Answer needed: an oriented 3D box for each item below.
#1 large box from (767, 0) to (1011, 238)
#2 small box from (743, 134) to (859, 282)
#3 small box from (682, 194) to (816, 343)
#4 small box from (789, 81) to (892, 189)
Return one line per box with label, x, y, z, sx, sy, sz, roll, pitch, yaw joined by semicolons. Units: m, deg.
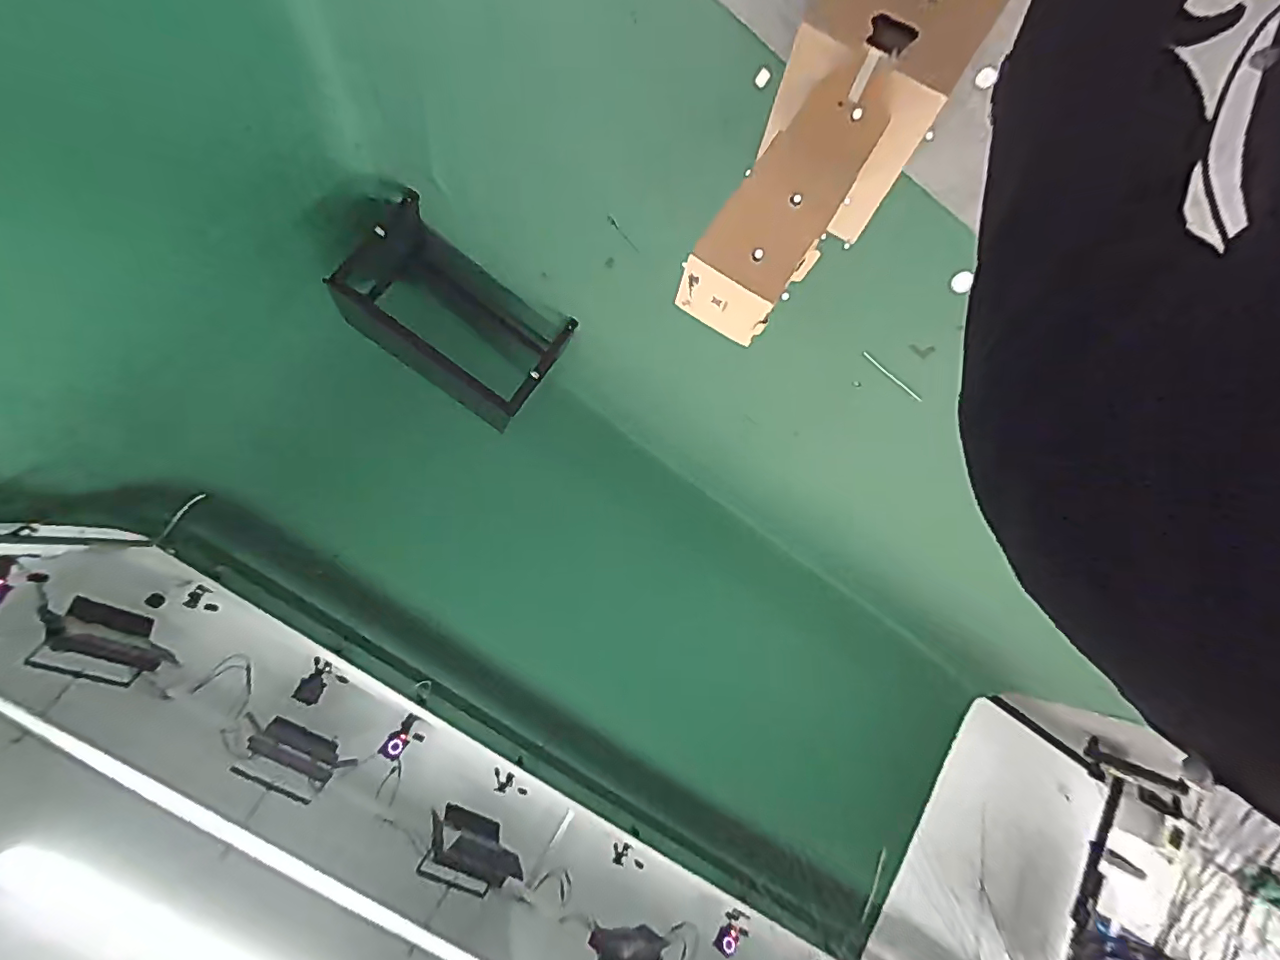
large box;0.518;-0.854;1.208;0.320;0.320;0.408;33;167;6
small box;0.297;-0.536;1.072;0.179;0.176;0.168;33;166;1
small box;0.207;-0.403;1.036;0.179;0.176;0.168;31;165;2
small box;0.387;-0.664;1.122;0.168;0.176;0.179;32;165;3
